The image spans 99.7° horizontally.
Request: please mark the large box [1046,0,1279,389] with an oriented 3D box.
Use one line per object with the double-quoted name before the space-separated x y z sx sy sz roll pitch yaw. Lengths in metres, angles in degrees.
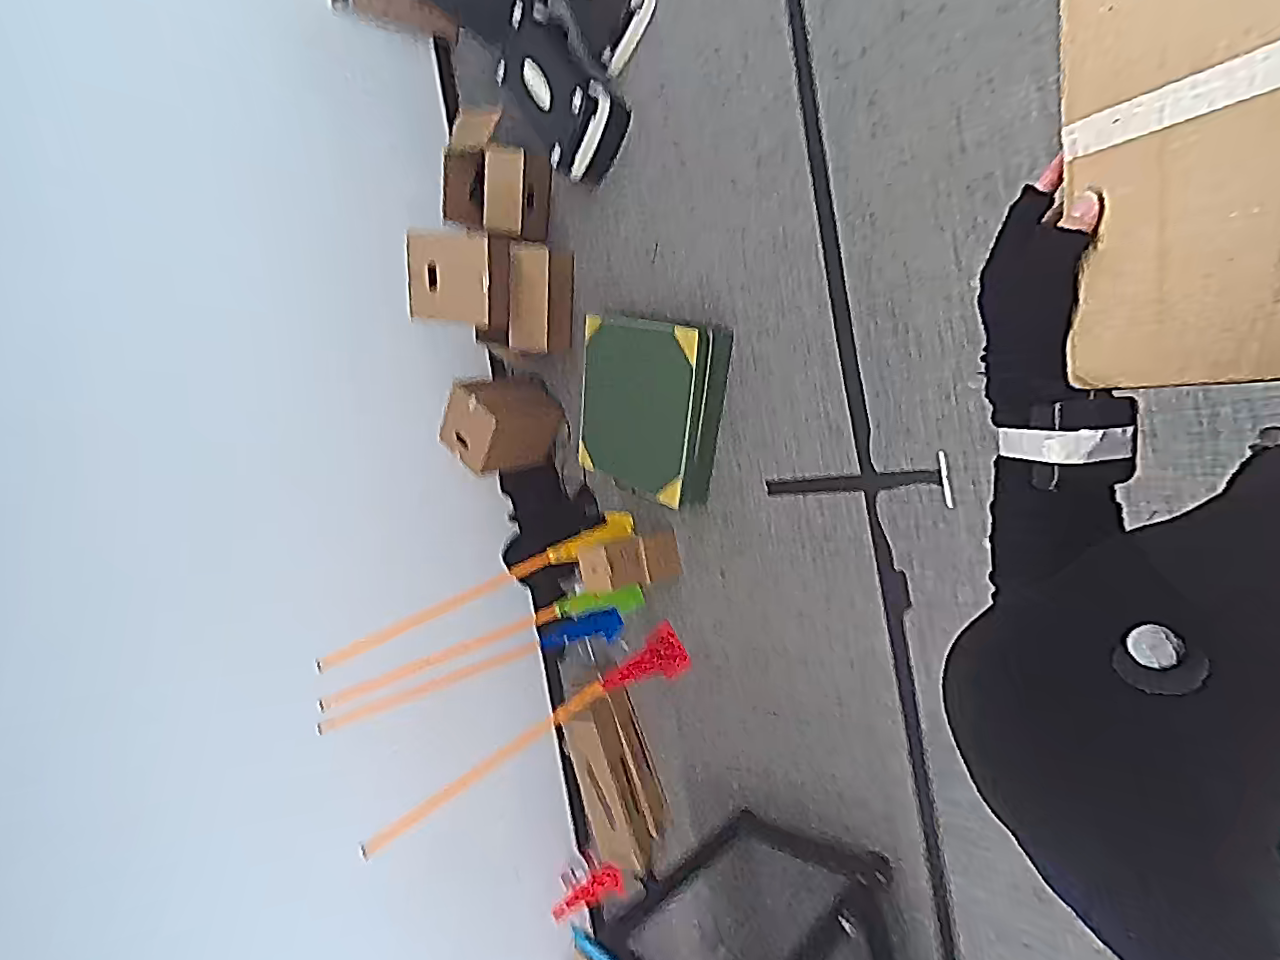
"large box" 0.500 -0.241 0.258 0.408 0.320 0.320 5 107 58
